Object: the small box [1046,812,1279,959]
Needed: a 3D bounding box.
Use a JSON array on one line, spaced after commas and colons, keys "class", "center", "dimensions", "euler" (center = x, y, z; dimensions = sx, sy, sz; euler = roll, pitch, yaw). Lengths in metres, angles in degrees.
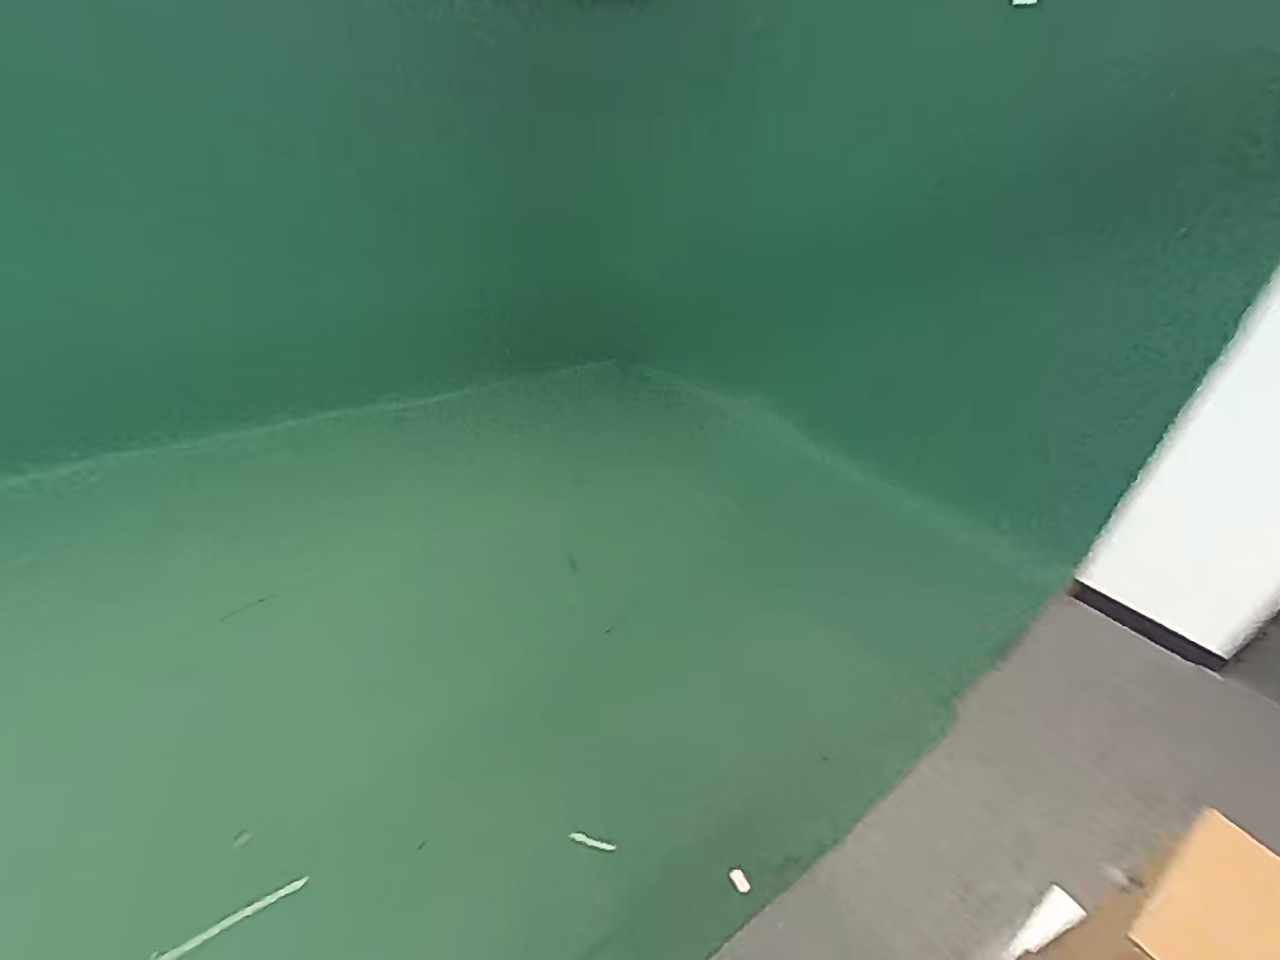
[{"class": "small box", "center": [0.443, 0.405, 0.402], "dimensions": [0.168, 0.176, 0.179], "euler": [-16, 40, -28]}]
